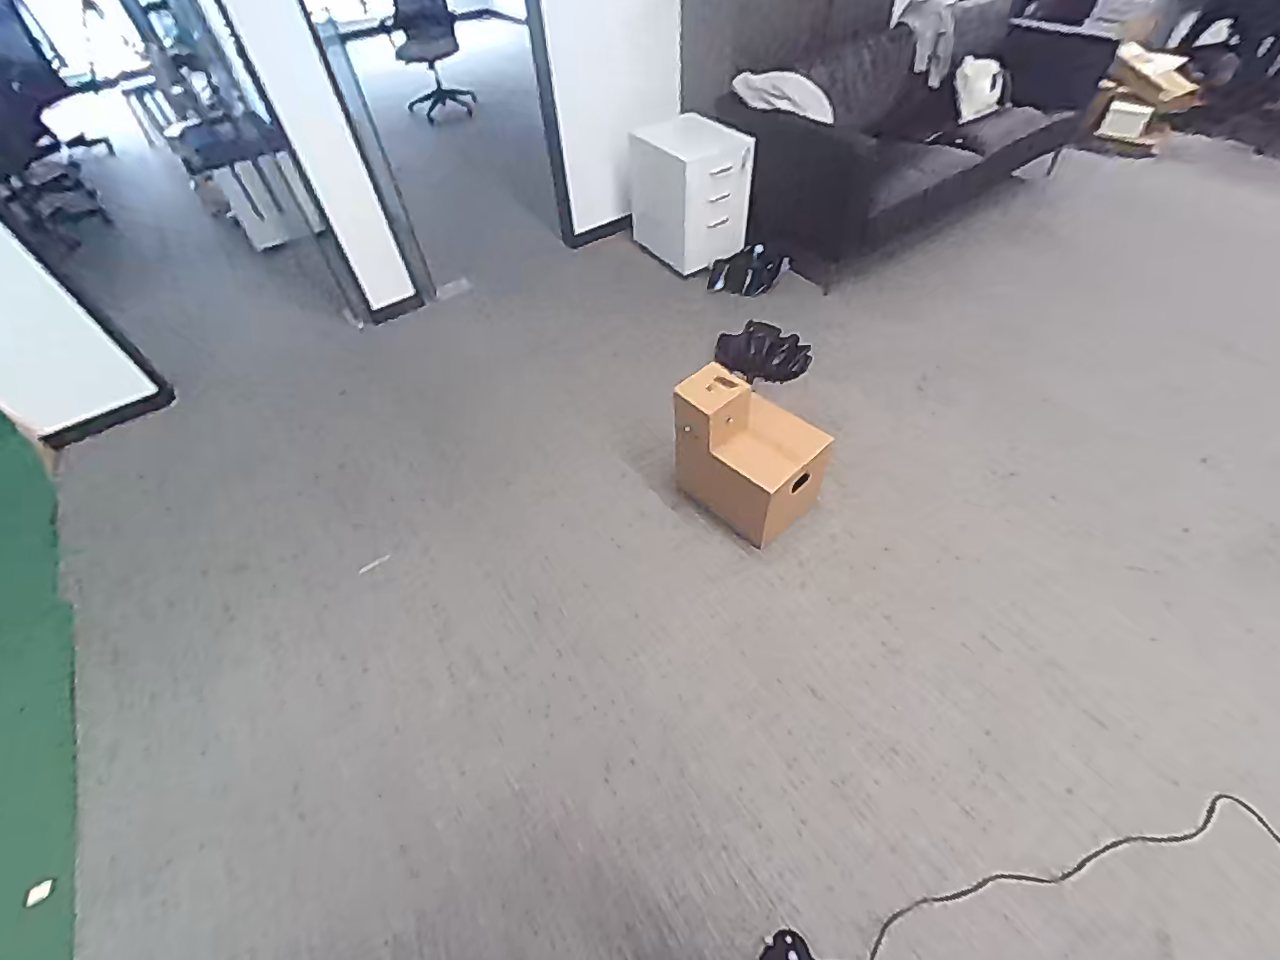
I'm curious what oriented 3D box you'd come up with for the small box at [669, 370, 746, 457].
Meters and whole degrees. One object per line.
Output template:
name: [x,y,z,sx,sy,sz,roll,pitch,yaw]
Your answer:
small box: [0.209,-0.207,1.692,0.179,0.176,0.168,-36,55,-20]
